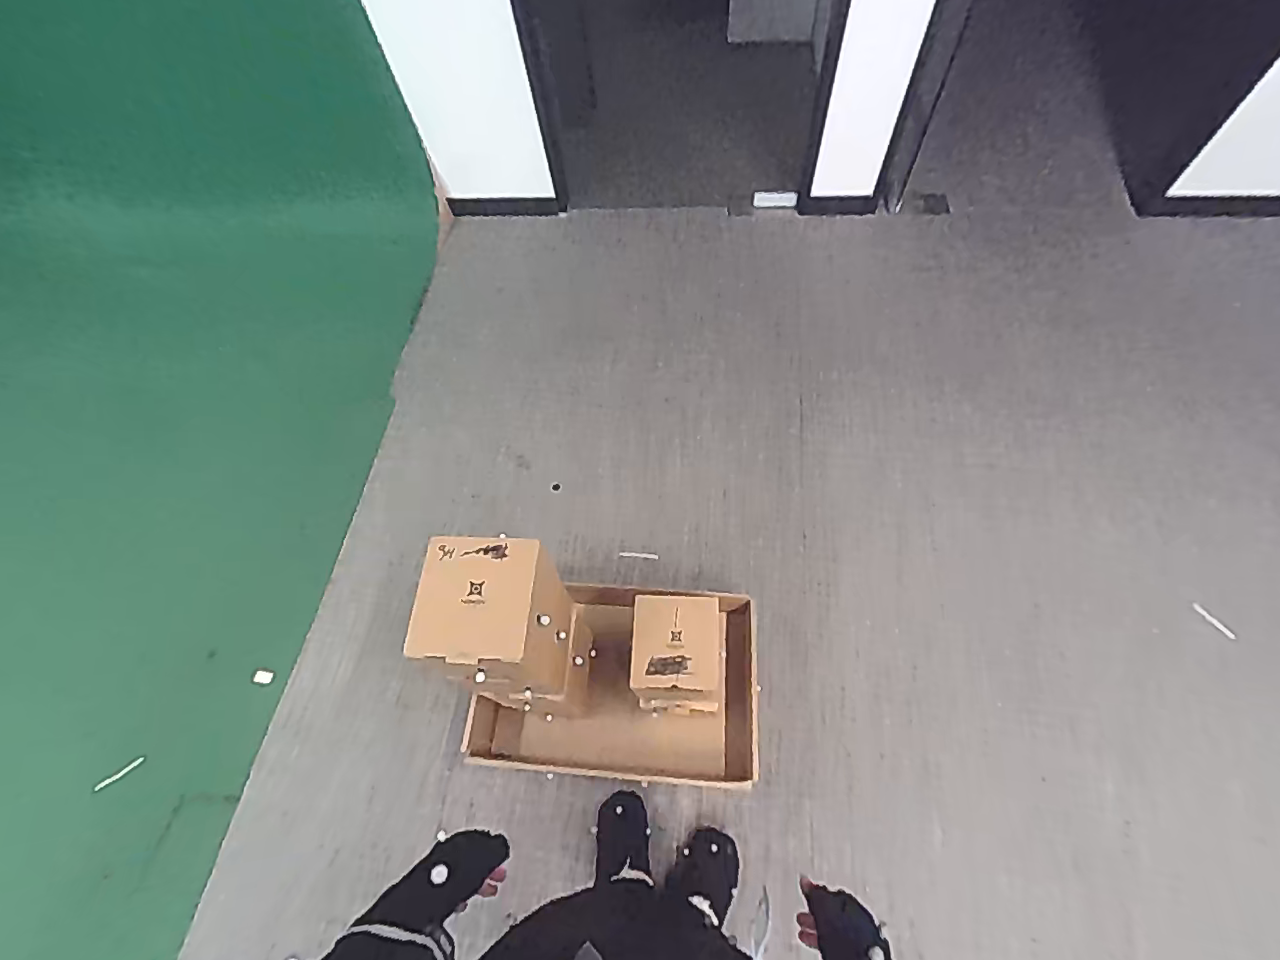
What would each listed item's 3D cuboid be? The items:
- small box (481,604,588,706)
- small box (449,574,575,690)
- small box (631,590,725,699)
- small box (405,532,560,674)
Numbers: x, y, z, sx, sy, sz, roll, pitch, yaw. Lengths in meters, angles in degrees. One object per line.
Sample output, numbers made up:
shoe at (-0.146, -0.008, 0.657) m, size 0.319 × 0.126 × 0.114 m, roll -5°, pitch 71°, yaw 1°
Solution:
small box at (-0.204, 0.354, 1.103) m, size 0.168 × 0.176 × 0.179 m, roll 3°, pitch 63°, yaw 5°
small box at (-0.215, 0.272, 0.961) m, size 0.168 × 0.176 × 0.179 m, roll 2°, pitch 62°, yaw 4°
small box at (0.080, 0.334, 1.081) m, size 0.168 × 0.176 × 0.179 m, roll 4°, pitch 63°, yaw 6°
small box at (-0.223, 0.192, 0.818) m, size 0.168 × 0.176 × 0.179 m, roll 2°, pitch 63°, yaw 3°
